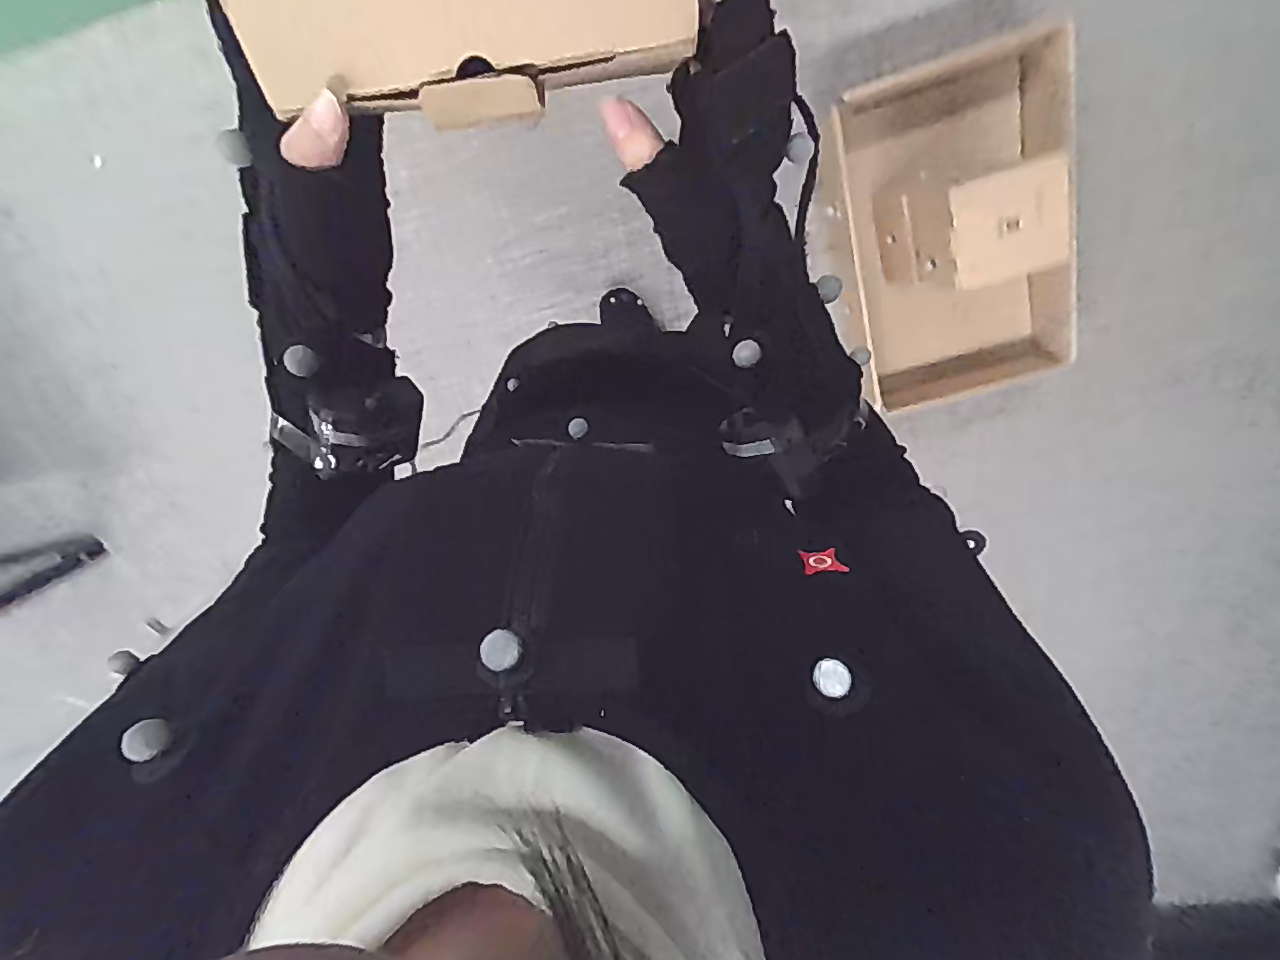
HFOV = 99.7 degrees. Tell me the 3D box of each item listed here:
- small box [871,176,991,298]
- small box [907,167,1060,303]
[{"bbox_3d":[0.585,-0.484,1.091,0.168,0.176,0.179,-16,110,9],"label":"small box"},{"bbox_3d":[0.586,-0.420,0.943,0.179,0.176,0.168,-15,113,8],"label":"small box"}]
